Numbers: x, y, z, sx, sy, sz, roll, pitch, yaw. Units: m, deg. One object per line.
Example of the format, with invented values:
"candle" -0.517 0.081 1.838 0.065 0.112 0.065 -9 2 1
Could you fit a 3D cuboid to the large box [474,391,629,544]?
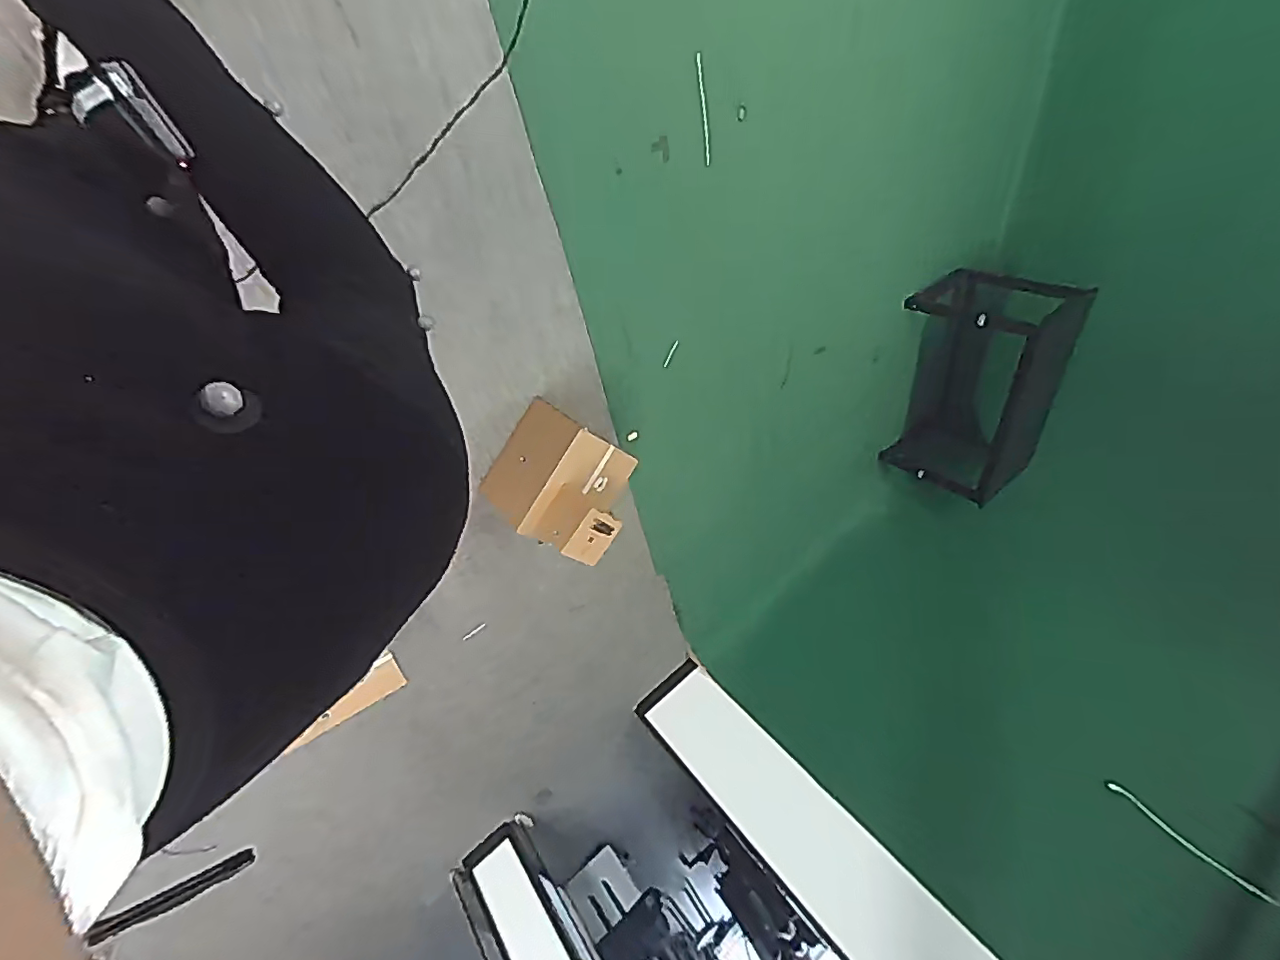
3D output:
"large box" -0.319 -0.042 1.930 0.320 0.320 0.408 27 96 -50
